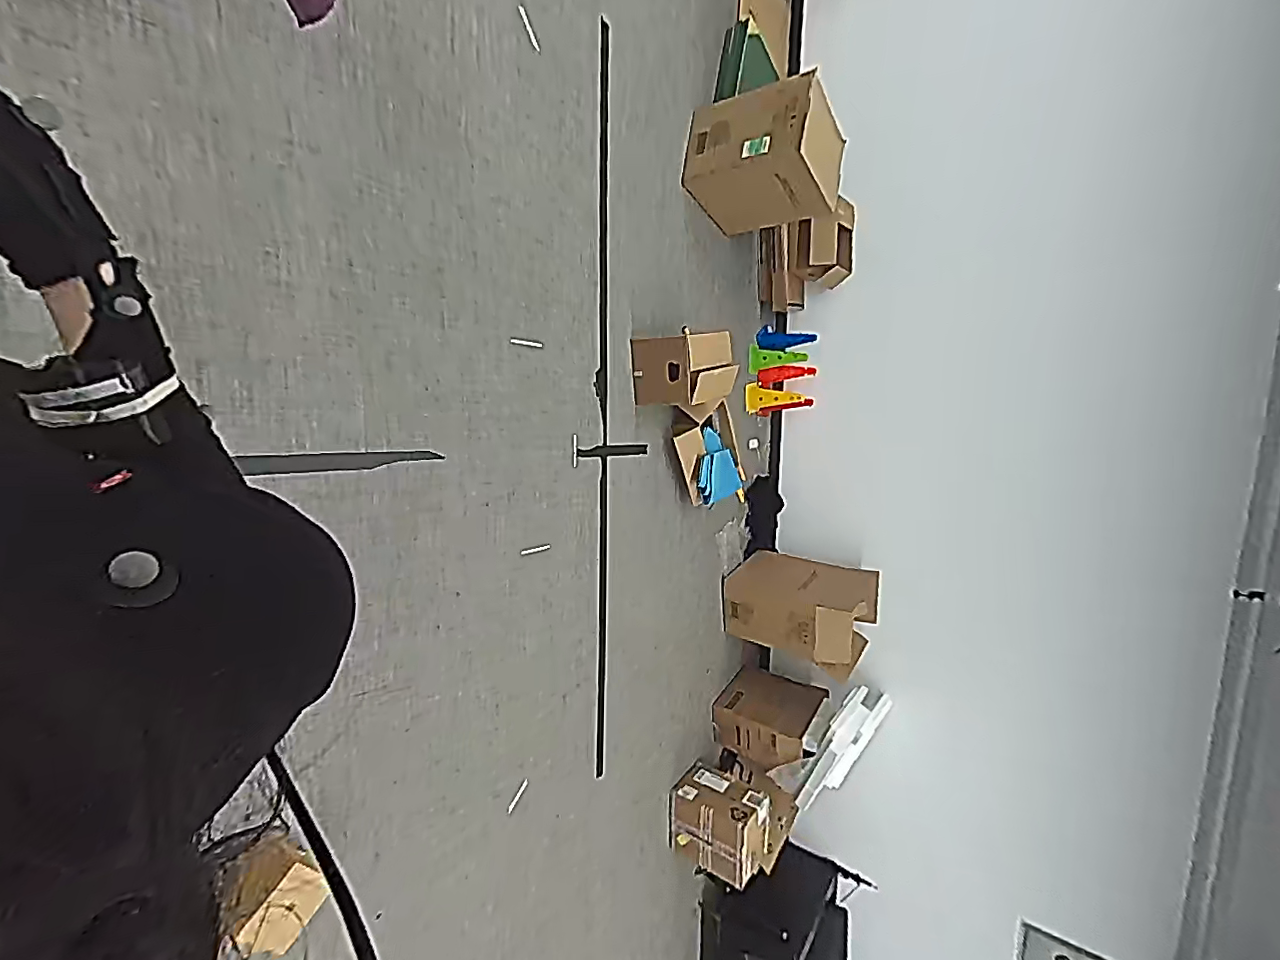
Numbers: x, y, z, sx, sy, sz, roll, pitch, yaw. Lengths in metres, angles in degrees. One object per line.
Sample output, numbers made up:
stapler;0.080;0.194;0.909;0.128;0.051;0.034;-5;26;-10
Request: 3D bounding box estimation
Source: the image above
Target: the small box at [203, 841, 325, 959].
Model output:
small box;-0.960;1.069;1.374;0.179;0.176;0.168;-55;137;-36
